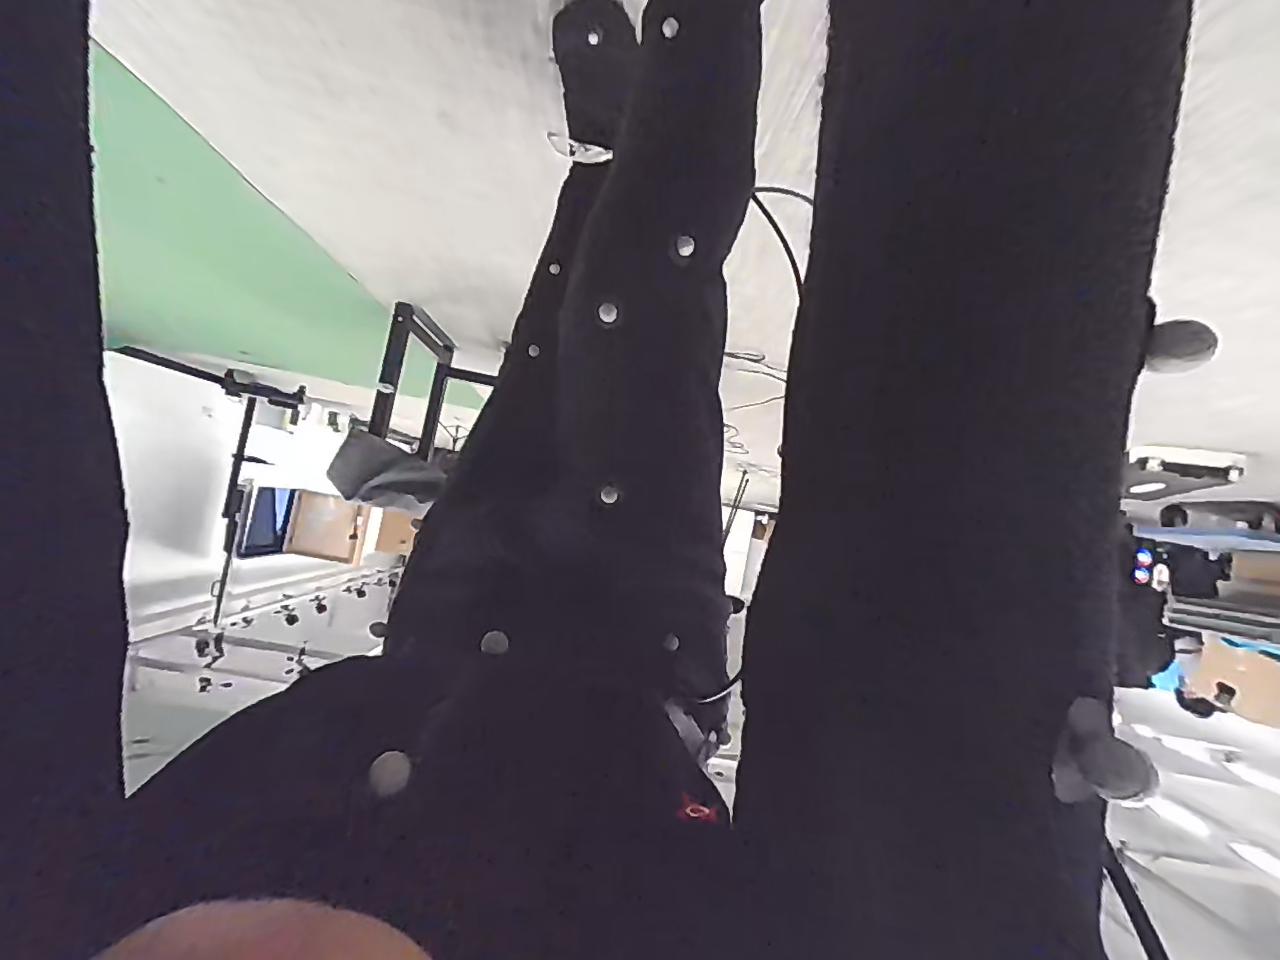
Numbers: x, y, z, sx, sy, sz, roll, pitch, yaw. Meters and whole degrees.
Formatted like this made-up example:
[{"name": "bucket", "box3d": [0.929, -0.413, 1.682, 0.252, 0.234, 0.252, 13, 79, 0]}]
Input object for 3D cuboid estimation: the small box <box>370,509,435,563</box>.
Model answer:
[{"name": "small box", "box3d": [-0.883, 0.207, 2.030, 0.179, 0.176, 0.168, 12, 175, -9]}]
